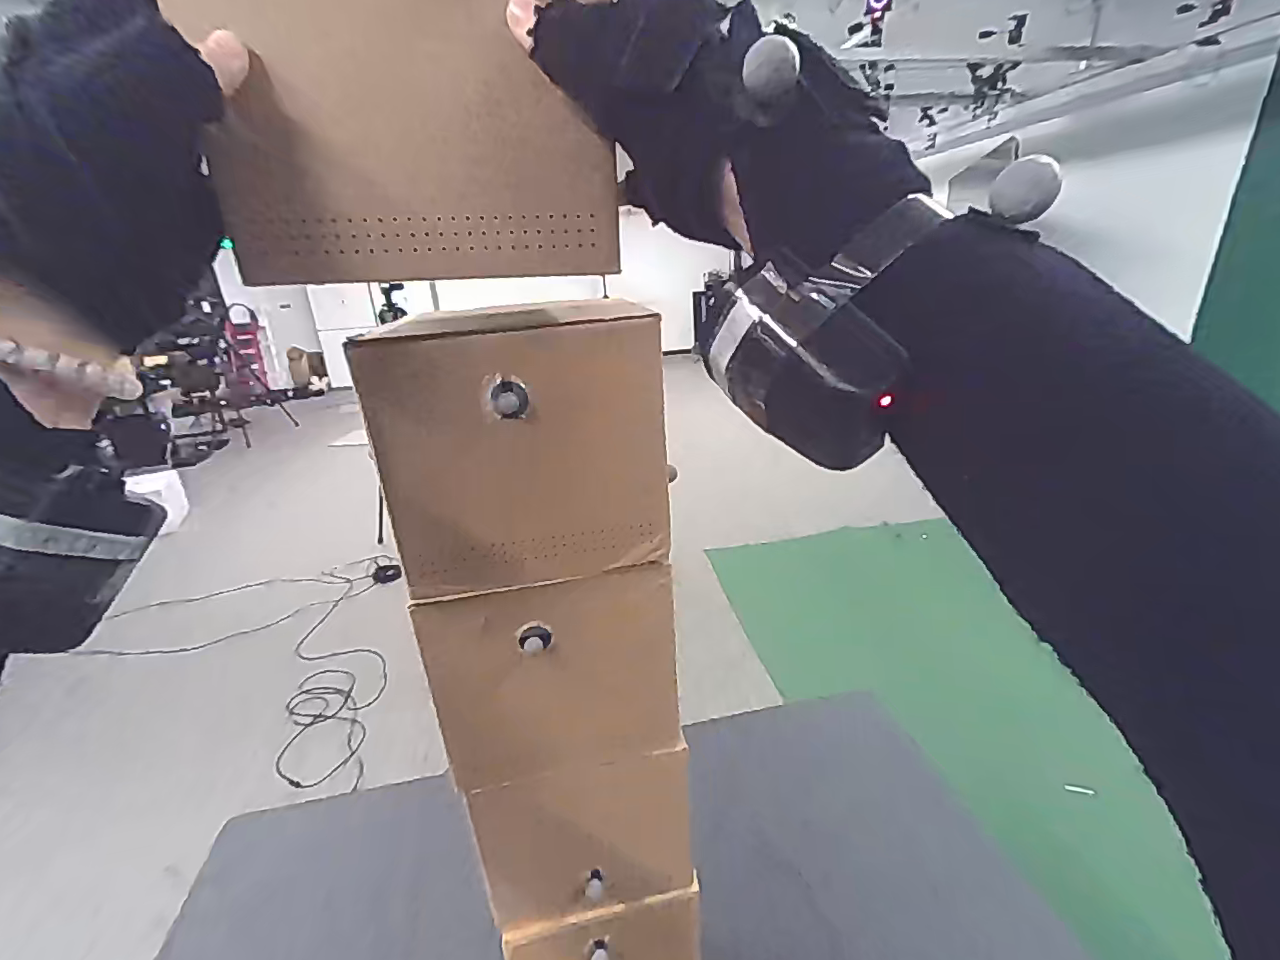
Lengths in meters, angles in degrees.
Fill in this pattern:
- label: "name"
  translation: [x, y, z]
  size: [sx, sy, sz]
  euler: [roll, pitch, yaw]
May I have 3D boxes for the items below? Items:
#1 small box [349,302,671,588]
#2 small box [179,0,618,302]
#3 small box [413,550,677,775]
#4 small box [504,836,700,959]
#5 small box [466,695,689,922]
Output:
- label: "small box"
  translation: [-0.080, -0.035, 0.405]
  size: [0.179, 0.176, 0.168]
  euler: [-7, 22, -7]
- label: "small box"
  translation: [-0.106, -0.199, 0.305]
  size: [0.179, 0.176, 0.168]
  euler: [-6, 24, -8]
- label: "small box"
  translation: [-0.073, 0.118, 0.463]
  size: [0.179, 0.176, 0.168]
  euler: [-7, 22, -9]
- label: "small box"
  translation: [-0.042, 0.426, 0.573]
  size: [0.179, 0.176, 0.168]
  euler: [-8, 21, -10]
- label: "small box"
  translation: [-0.056, 0.272, 0.520]
  size: [0.179, 0.176, 0.168]
  euler: [-6, 21, -8]
